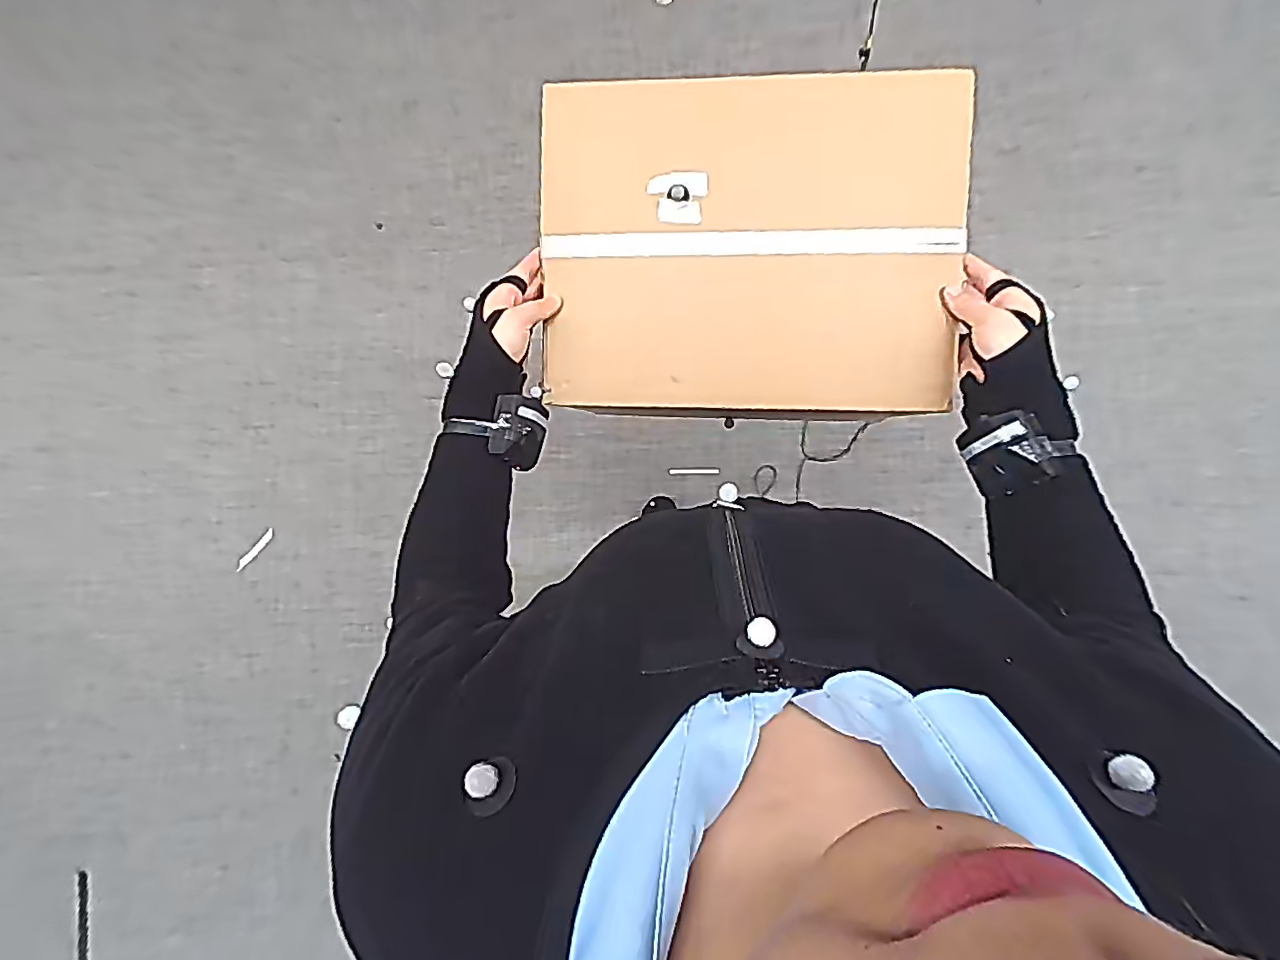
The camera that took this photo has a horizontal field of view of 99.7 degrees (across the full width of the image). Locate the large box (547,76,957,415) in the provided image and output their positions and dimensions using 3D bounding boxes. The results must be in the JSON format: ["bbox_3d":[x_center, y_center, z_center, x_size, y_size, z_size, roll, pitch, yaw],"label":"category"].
[{"bbox_3d":[0.119,-0.241,0.687,0.408,0.320,0.320,1,94,6],"label":"large box"}]
